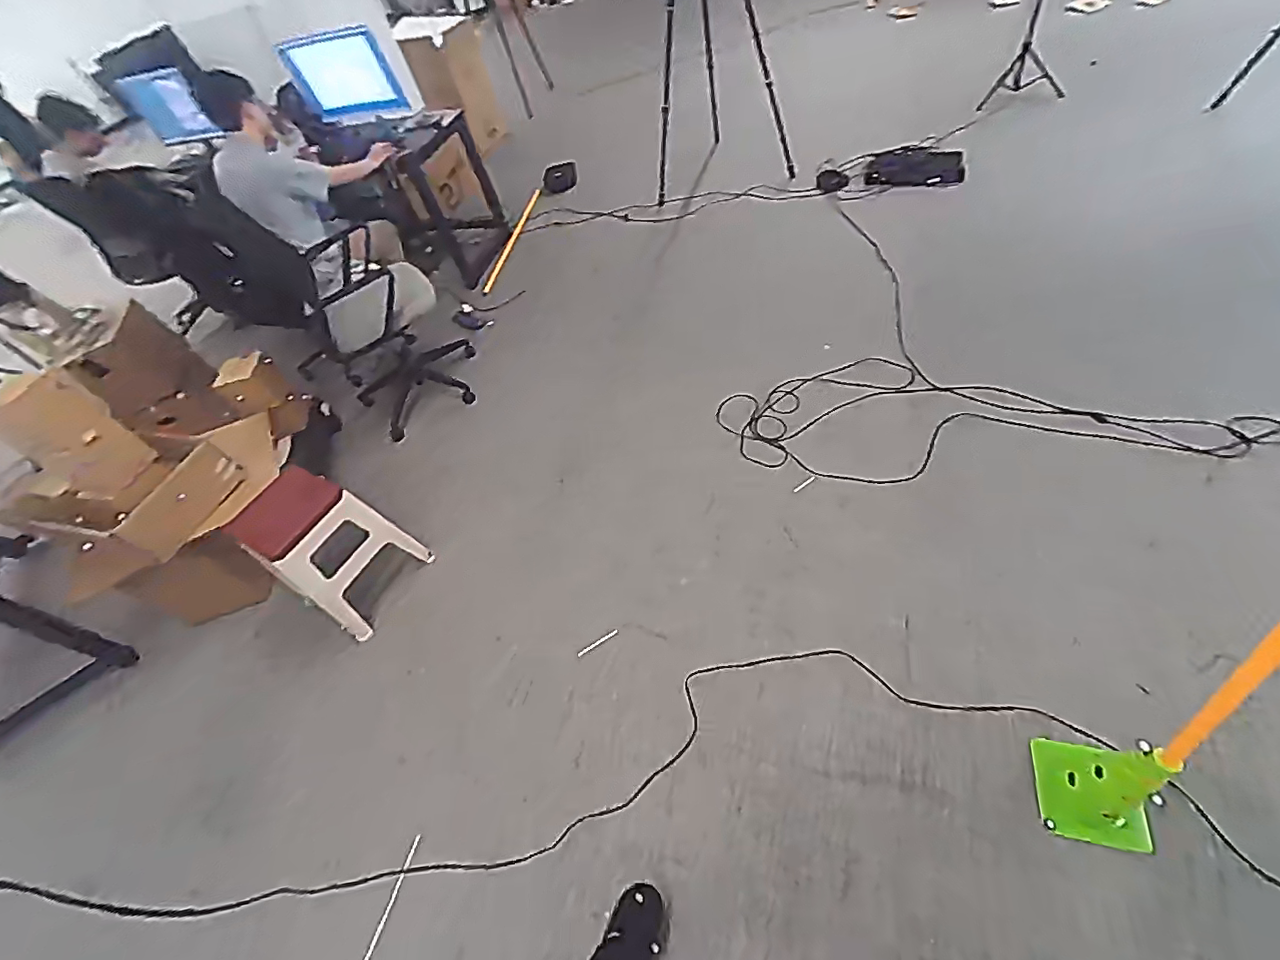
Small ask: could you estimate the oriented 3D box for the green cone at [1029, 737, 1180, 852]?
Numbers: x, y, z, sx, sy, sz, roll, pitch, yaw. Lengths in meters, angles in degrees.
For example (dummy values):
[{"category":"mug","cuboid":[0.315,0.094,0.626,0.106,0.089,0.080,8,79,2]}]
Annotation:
[{"category":"green cone","cuboid":[0.968,0.591,1.082,0.200,0.368,0.202,3,53,18]}]
